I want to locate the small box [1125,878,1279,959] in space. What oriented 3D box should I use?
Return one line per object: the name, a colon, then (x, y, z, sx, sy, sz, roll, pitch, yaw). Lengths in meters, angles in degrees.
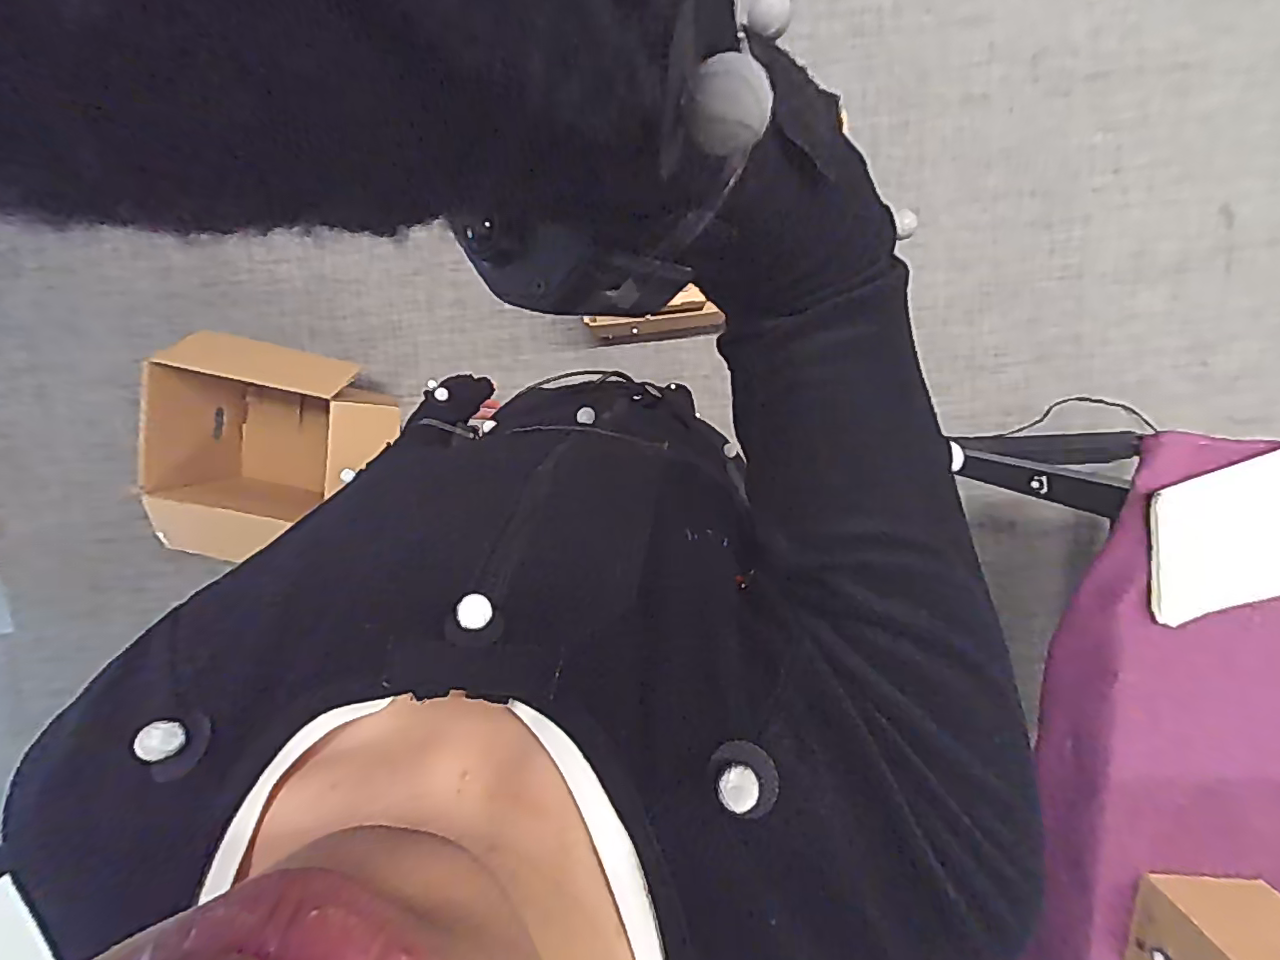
small box: (0.814, 0.672, 0.718, 0.179, 0.176, 0.168, 3, 98, 2)
